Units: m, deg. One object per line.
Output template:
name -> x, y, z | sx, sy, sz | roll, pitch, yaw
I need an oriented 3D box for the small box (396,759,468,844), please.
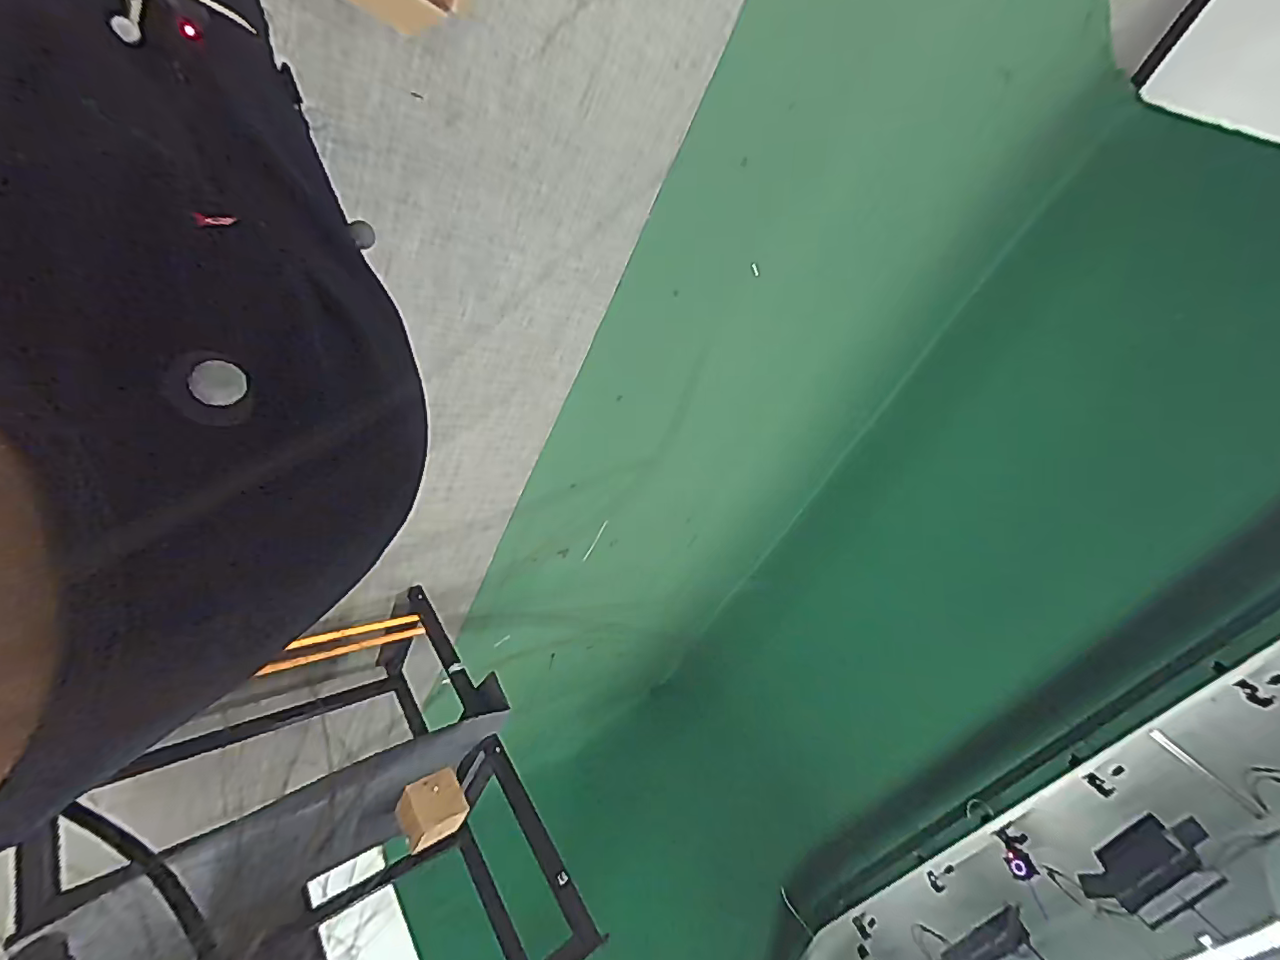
small box -> -0.742, 1.130, 1.912 | 0.168, 0.176, 0.179 | -5, 135, -47
